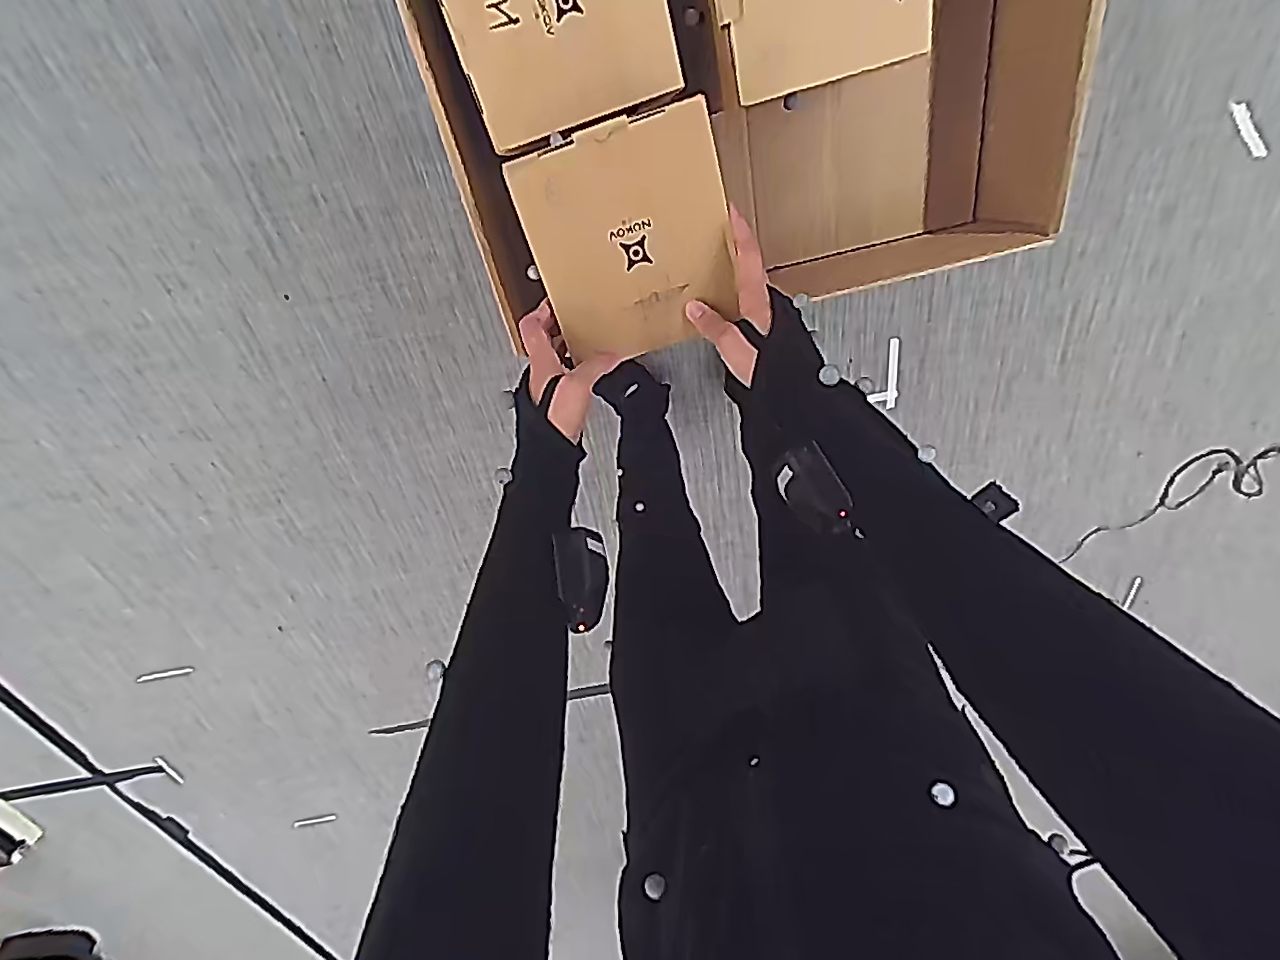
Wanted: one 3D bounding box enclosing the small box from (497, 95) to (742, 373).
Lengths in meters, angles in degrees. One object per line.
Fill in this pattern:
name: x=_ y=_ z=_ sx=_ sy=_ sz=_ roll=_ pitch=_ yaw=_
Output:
small box: x=-0.018 y=-0.225 z=0.517 sx=0.168 sy=0.176 sz=0.179 roll=-18 pitch=115 yaw=4
